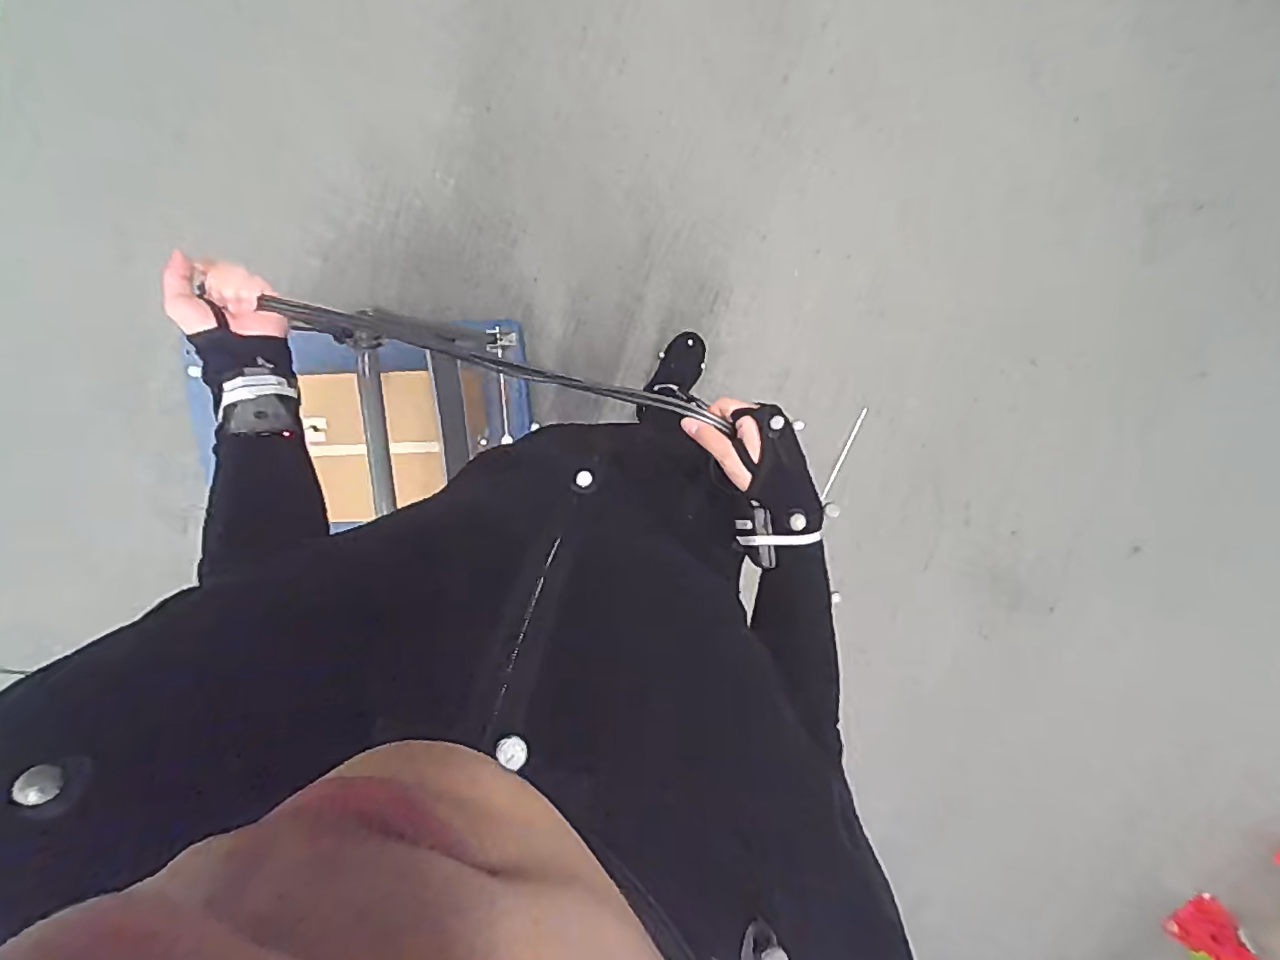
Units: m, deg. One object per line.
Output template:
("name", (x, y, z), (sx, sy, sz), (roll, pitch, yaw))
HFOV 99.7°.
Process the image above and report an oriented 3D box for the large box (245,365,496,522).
("large box", (-0.588, -0.100, 1.259), (0.408, 0.320, 0.320), (-2, 101, 2))
